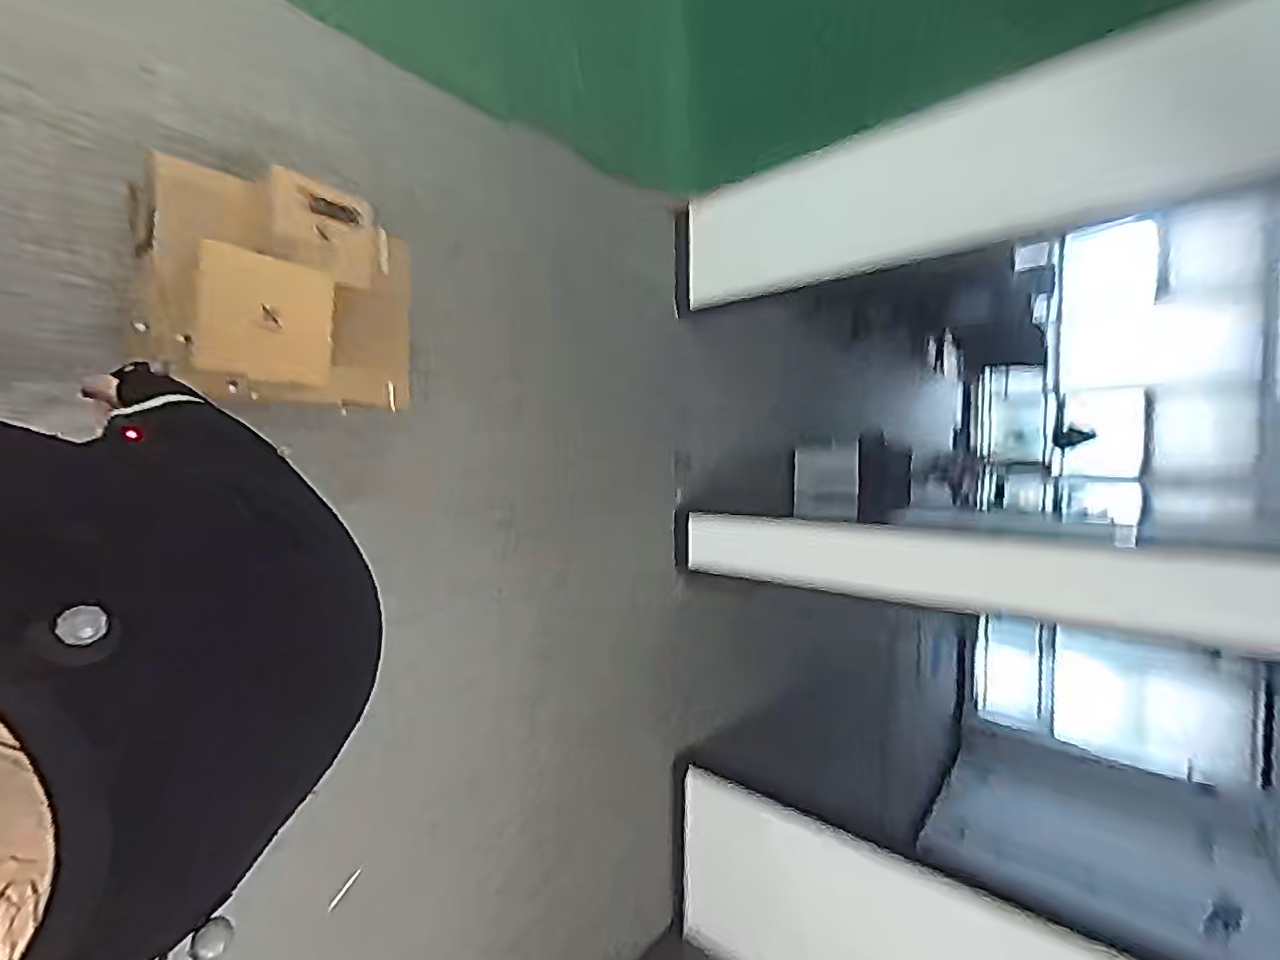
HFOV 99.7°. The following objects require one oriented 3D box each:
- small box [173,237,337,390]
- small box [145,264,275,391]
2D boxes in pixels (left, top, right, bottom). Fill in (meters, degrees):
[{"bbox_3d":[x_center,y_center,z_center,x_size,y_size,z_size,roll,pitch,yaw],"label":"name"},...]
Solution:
[{"bbox_3d":[-0.591,-0.241,0.830,0.168,0.176,0.179,3,92,-51],"label":"small box"},{"bbox_3d":[-0.718,-0.249,0.932,0.179,0.176,0.168,1,91,-50],"label":"small box"}]
